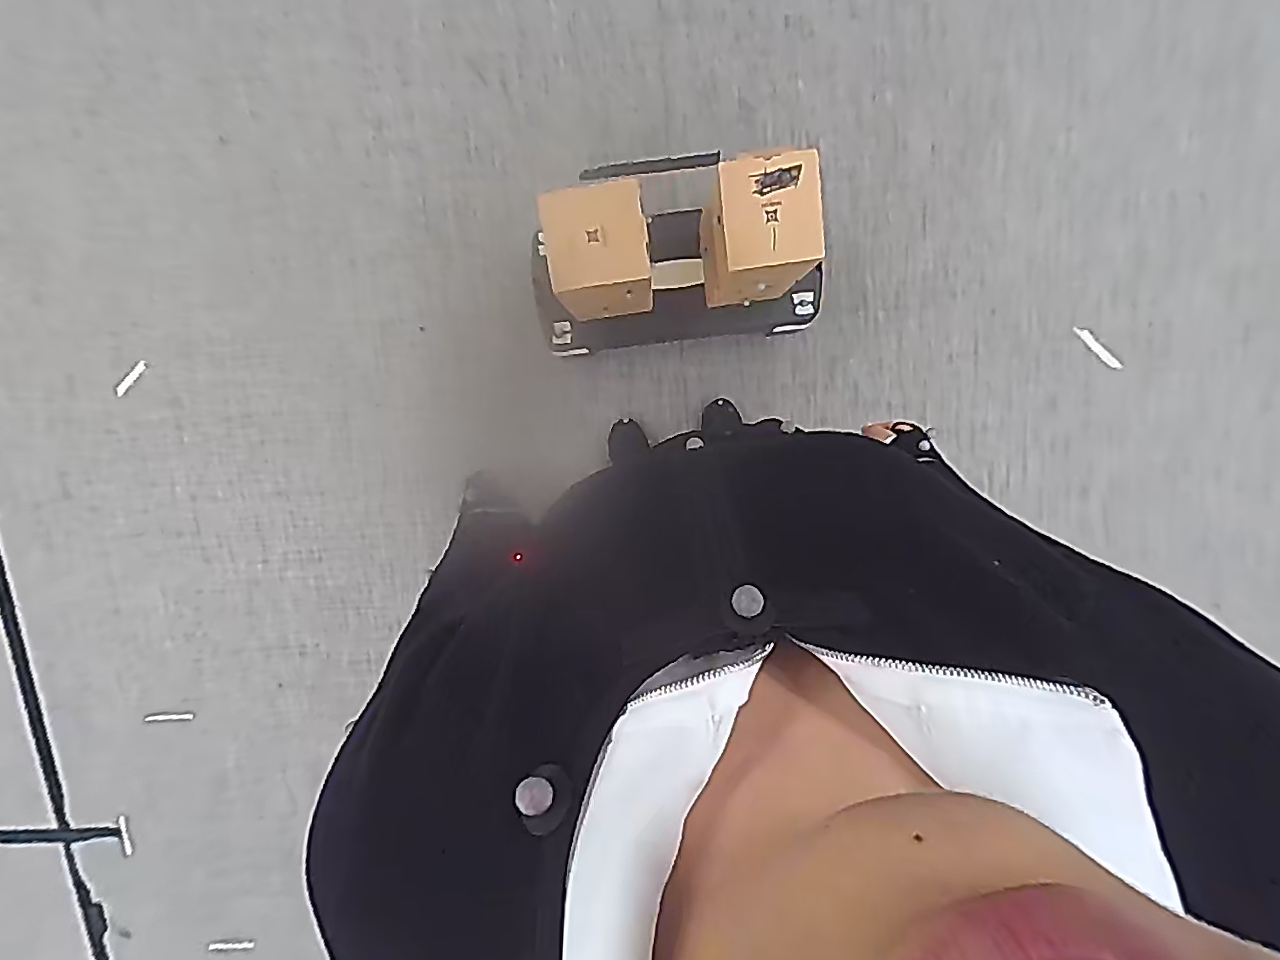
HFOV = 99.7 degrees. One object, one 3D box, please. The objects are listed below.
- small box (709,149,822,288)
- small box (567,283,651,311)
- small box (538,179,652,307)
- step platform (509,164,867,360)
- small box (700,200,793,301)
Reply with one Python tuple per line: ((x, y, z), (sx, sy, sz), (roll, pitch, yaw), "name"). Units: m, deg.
((0.220, -0.465, 0.986), (0.168, 0.176, 0.179), (-7, 99, 3), "small box")
((-0.071, -0.453, 1.164), (0.179, 0.176, 0.168), (-8, 98, 3), "small box")
((-0.076, -0.428, 1.002), (0.179, 0.176, 0.168), (-9, 97, 3), "small box")
((0.090, -0.429, 1.126), (0.684, 0.204, 0.286), (-6, 98, 2), "step platform")
((0.218, -0.484, 1.150), (0.168, 0.176, 0.179), (-7, 98, 4), "small box")
